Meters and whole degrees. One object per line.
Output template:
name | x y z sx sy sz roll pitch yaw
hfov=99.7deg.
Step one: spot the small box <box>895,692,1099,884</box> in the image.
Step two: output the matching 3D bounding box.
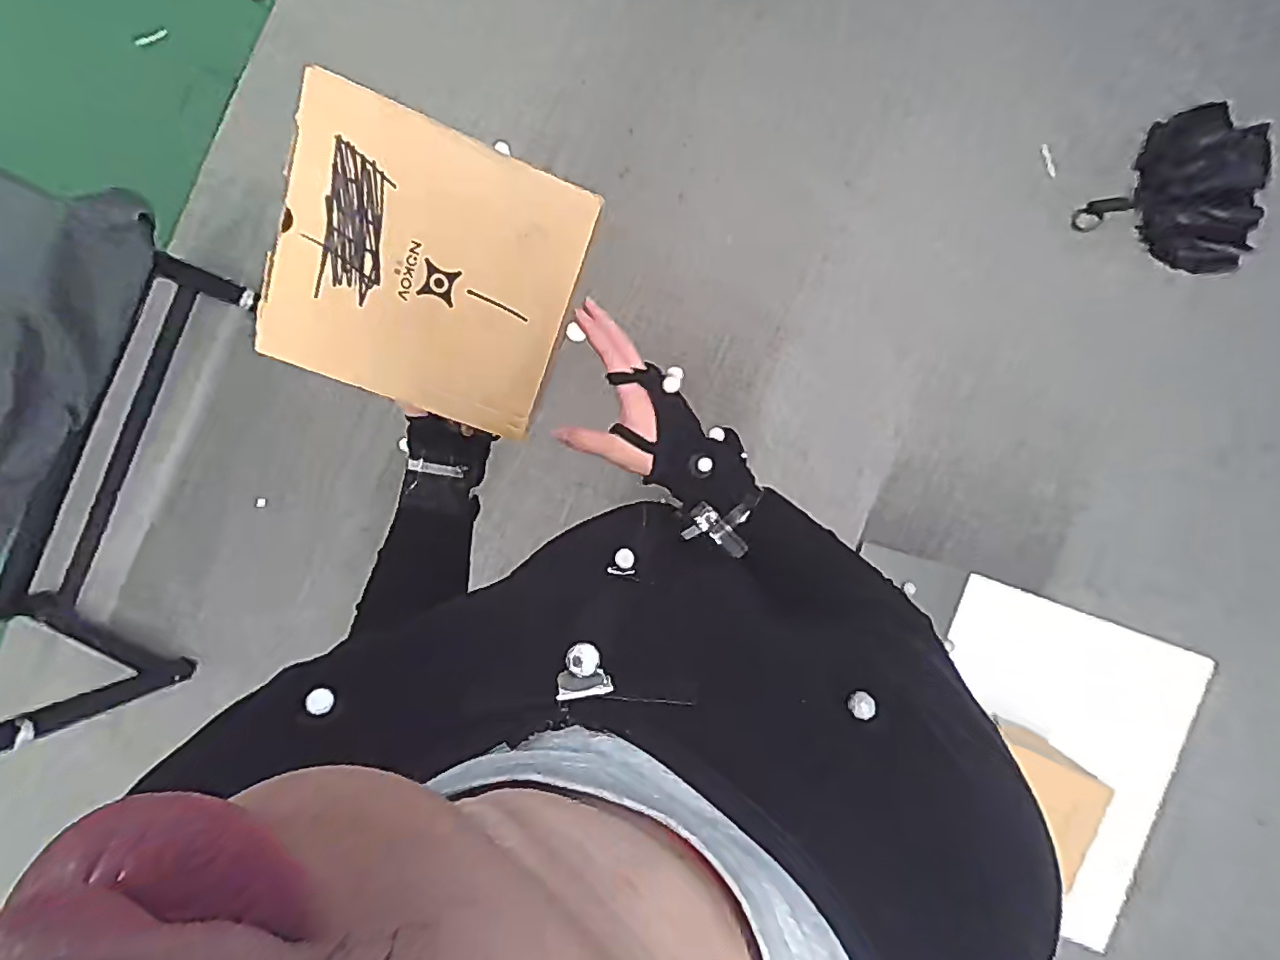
small box | 0.530 0.455 0.833 0.179 0.176 0.168 23 93 3
